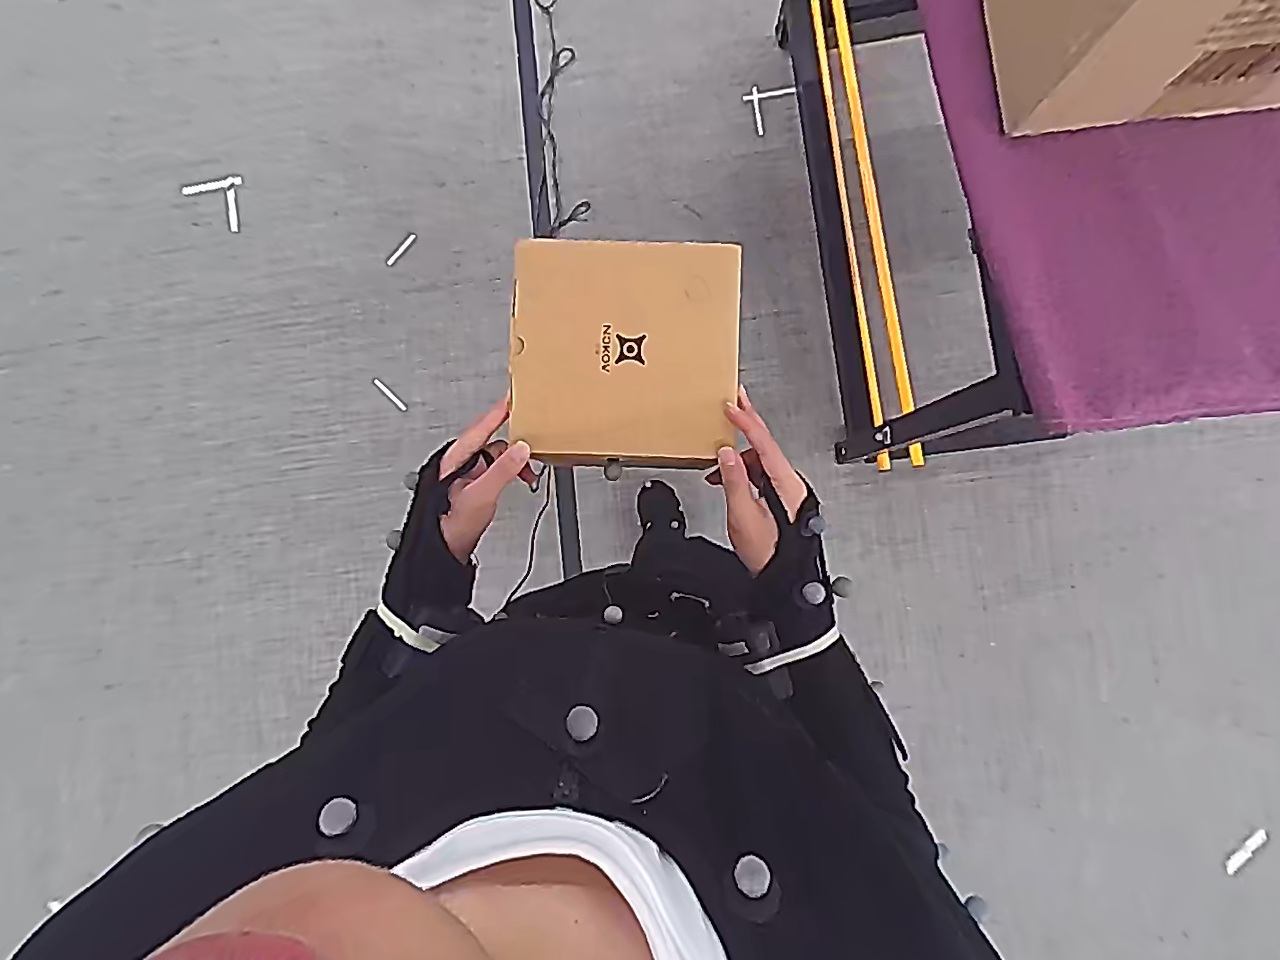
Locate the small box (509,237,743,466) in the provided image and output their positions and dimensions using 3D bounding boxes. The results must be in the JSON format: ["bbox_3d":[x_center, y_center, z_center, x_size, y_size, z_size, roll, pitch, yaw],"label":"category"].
[{"bbox_3d":[-0.011,-0.100,0.491,0.179,0.176,0.168,2,89,0],"label":"small box"}]
